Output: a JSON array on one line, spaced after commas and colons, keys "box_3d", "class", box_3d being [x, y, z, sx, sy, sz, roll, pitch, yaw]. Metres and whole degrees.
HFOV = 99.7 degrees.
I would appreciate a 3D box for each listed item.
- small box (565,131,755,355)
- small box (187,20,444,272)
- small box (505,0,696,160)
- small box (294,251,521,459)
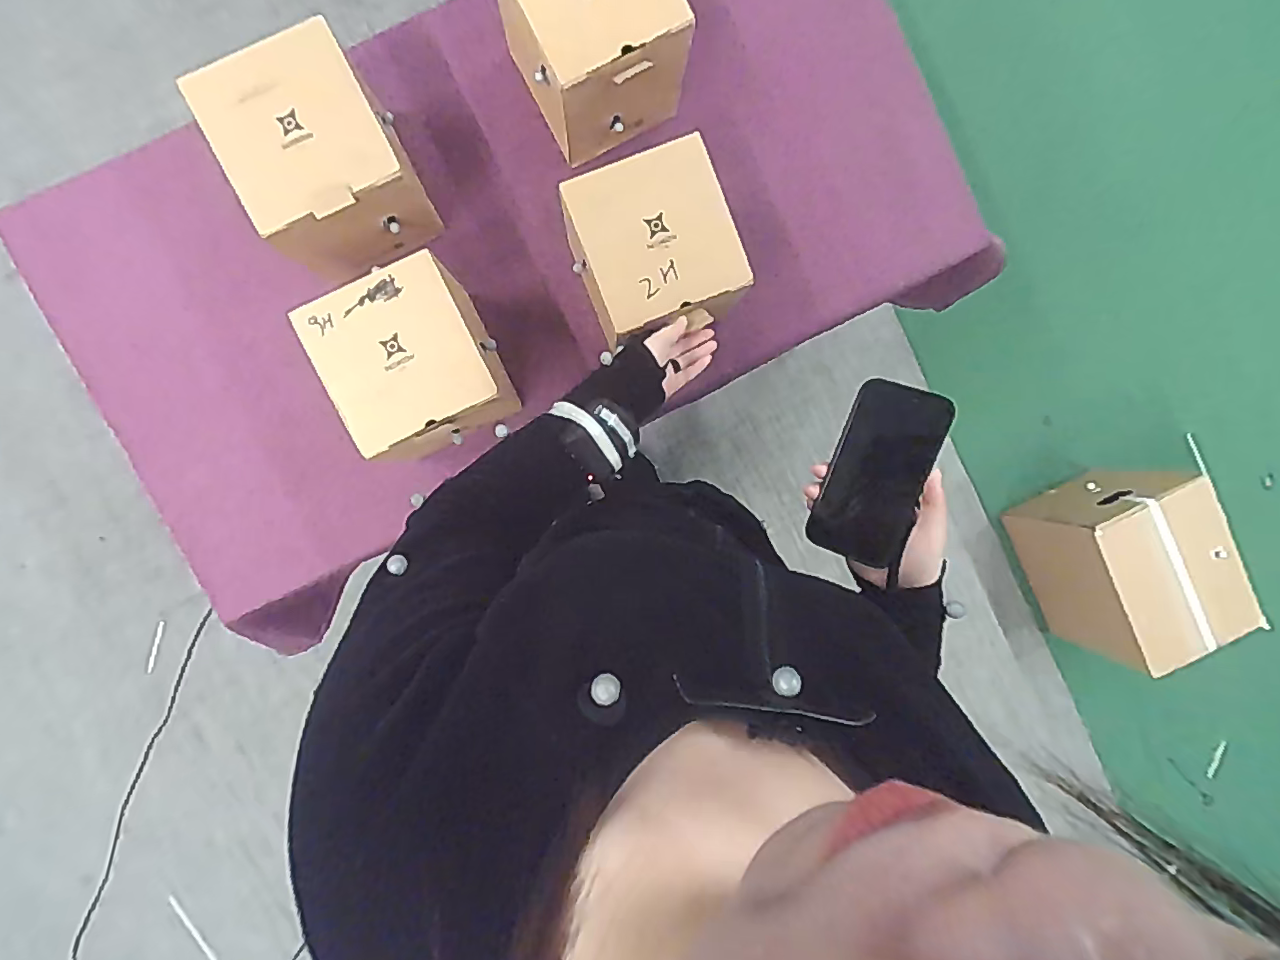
[{"box_3d": [0.018, -0.275, 0.668, 0.168, 0.176, 0.179, -22, 94, -1], "class": "small box"}, {"box_3d": [-0.362, -0.371, 0.644, 0.168, 0.176, 0.179, -26, 94, -2], "class": "small box"}, {"box_3d": [-0.054, -0.537, 0.651, 0.168, 0.176, 0.179, -29, 95, -1], "class": "small box"}, {"box_3d": [-0.263, -0.140, 0.662, 0.168, 0.176, 0.179, -26, 95, -2], "class": "small box"}]
